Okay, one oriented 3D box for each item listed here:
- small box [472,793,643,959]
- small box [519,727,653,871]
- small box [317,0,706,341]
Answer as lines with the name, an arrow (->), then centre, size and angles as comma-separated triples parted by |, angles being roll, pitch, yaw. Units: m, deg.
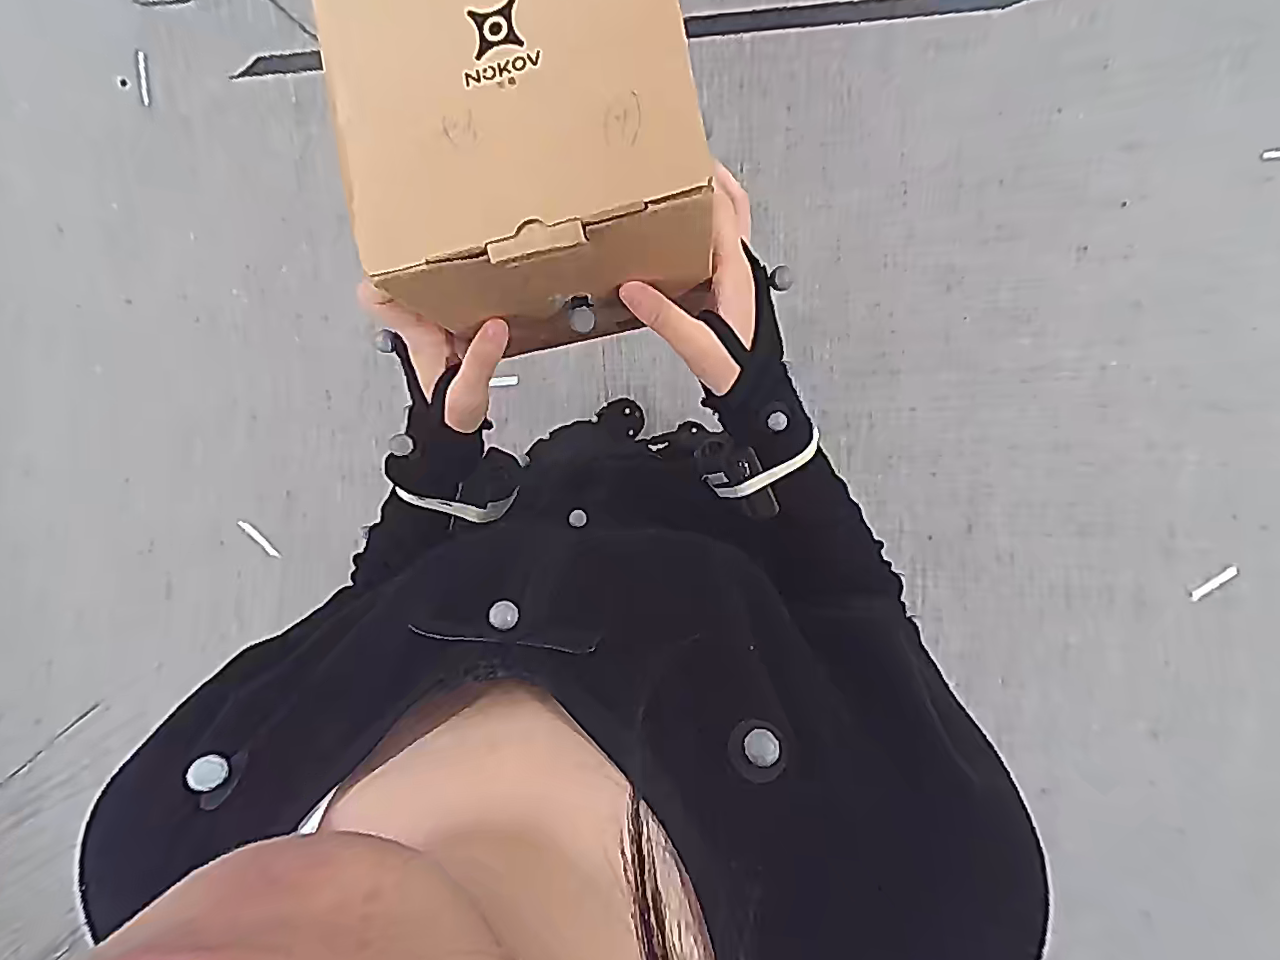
small box -> -0.095, 0.524, 0.674 | 0.179, 0.176, 0.168 | 3, 96, 6
small box -> -0.078, 0.505, 0.834 | 0.179, 0.176, 0.168 | 2, 97, 6
small box -> -0.054, -0.193, 0.326 | 0.168, 0.176, 0.179 | -11, 89, 7
